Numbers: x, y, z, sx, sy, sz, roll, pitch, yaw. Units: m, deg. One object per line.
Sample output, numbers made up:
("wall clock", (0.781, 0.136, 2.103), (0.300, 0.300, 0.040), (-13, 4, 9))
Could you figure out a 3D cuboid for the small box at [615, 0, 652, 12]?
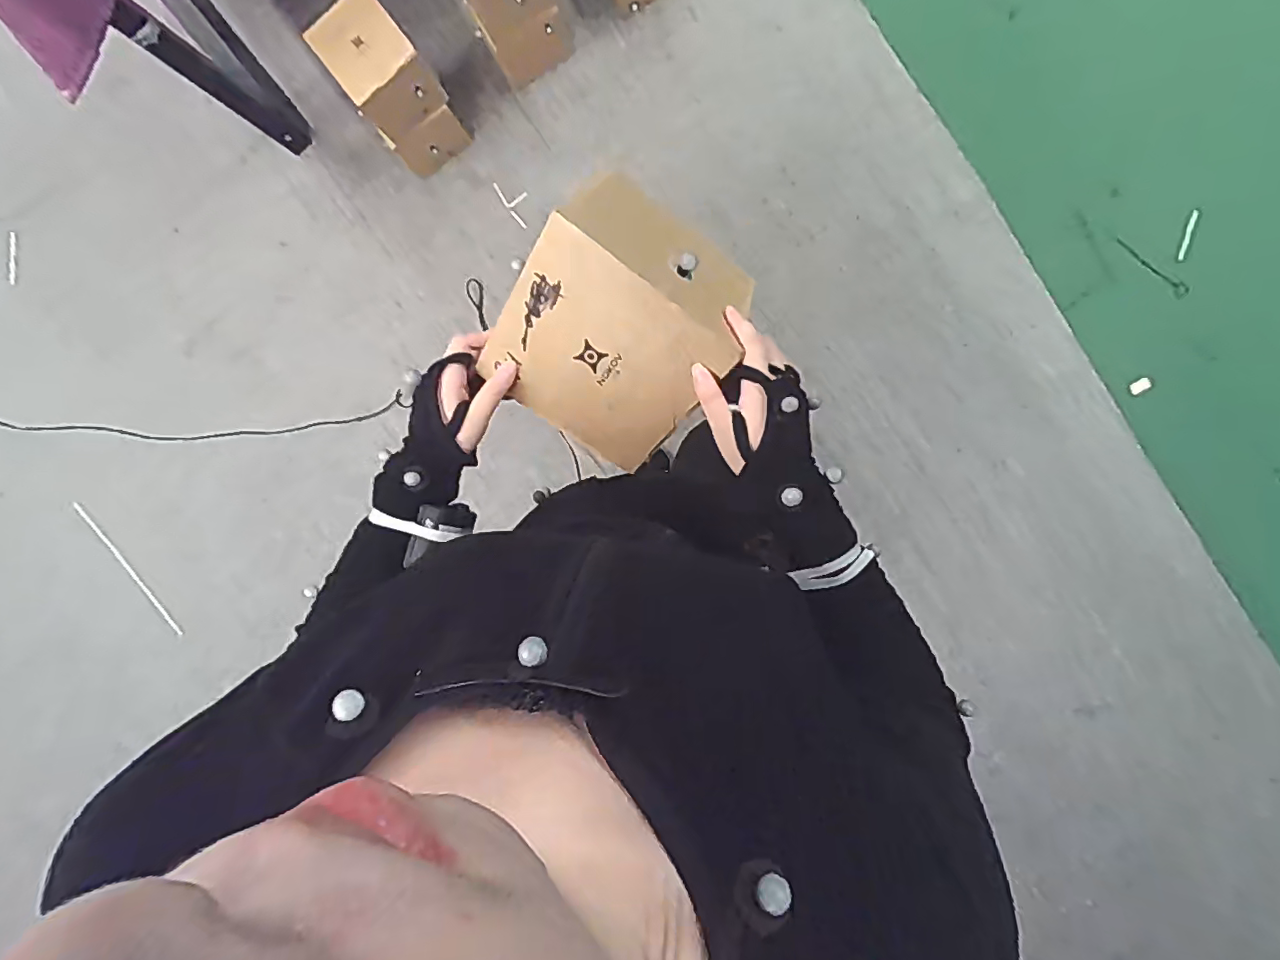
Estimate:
("small box", (-0.009, -1.257, 1.264), (0.168, 0.176, 0.179), (-26, 94, 5))
